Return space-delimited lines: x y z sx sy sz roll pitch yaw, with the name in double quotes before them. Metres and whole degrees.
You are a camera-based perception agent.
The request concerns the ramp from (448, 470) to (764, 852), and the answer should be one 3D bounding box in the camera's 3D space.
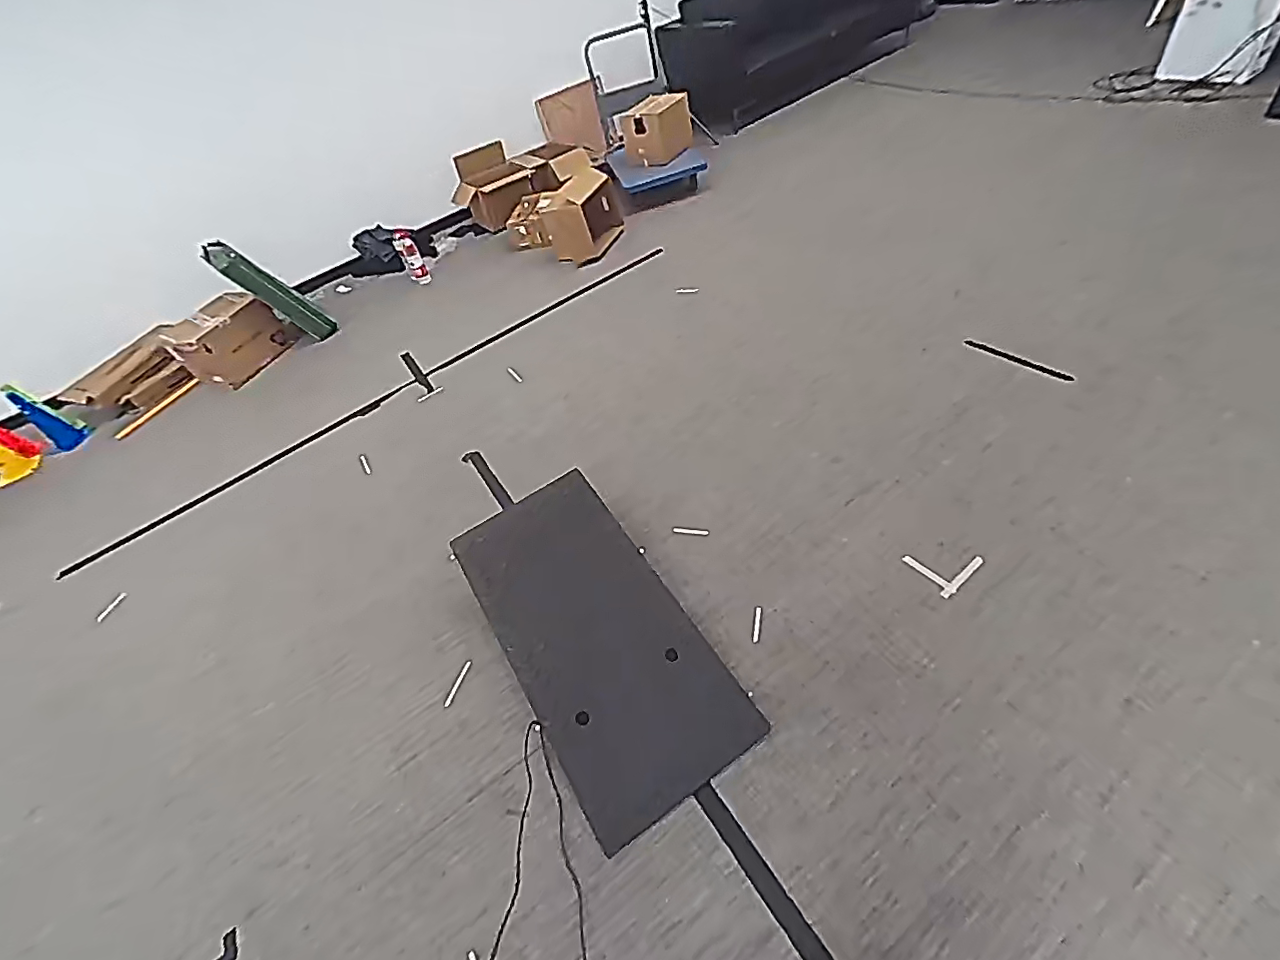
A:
"ramp" -0.150 0.416 1.558 0.509 0.206 0.991 -32 48 -15
